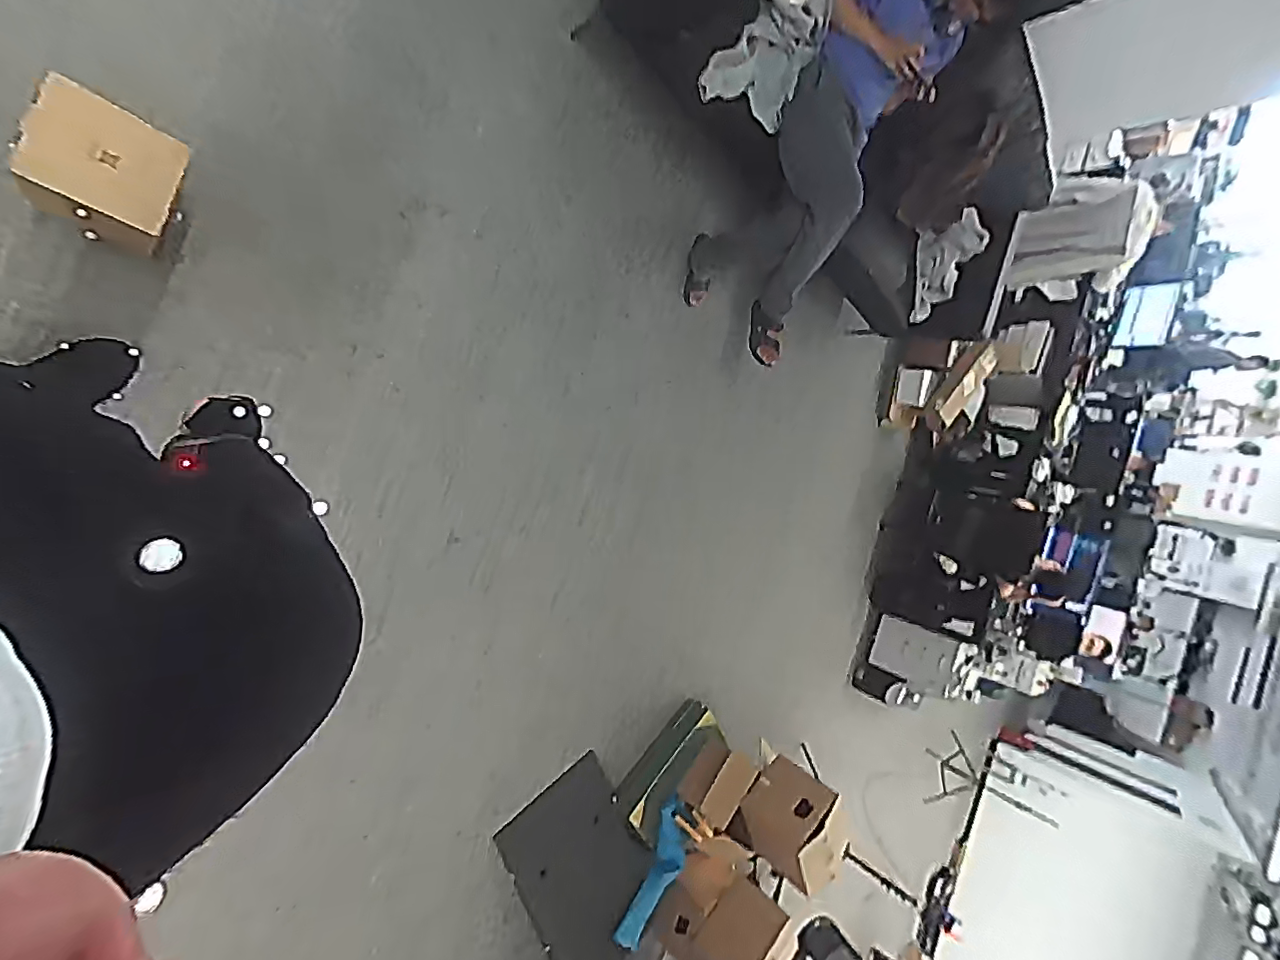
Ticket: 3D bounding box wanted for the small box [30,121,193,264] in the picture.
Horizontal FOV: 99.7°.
[{"bbox_3d":[-0.999,-0.532,1.032,0.179,0.176,0.168,23,84,-44],"label":"small box"}]
